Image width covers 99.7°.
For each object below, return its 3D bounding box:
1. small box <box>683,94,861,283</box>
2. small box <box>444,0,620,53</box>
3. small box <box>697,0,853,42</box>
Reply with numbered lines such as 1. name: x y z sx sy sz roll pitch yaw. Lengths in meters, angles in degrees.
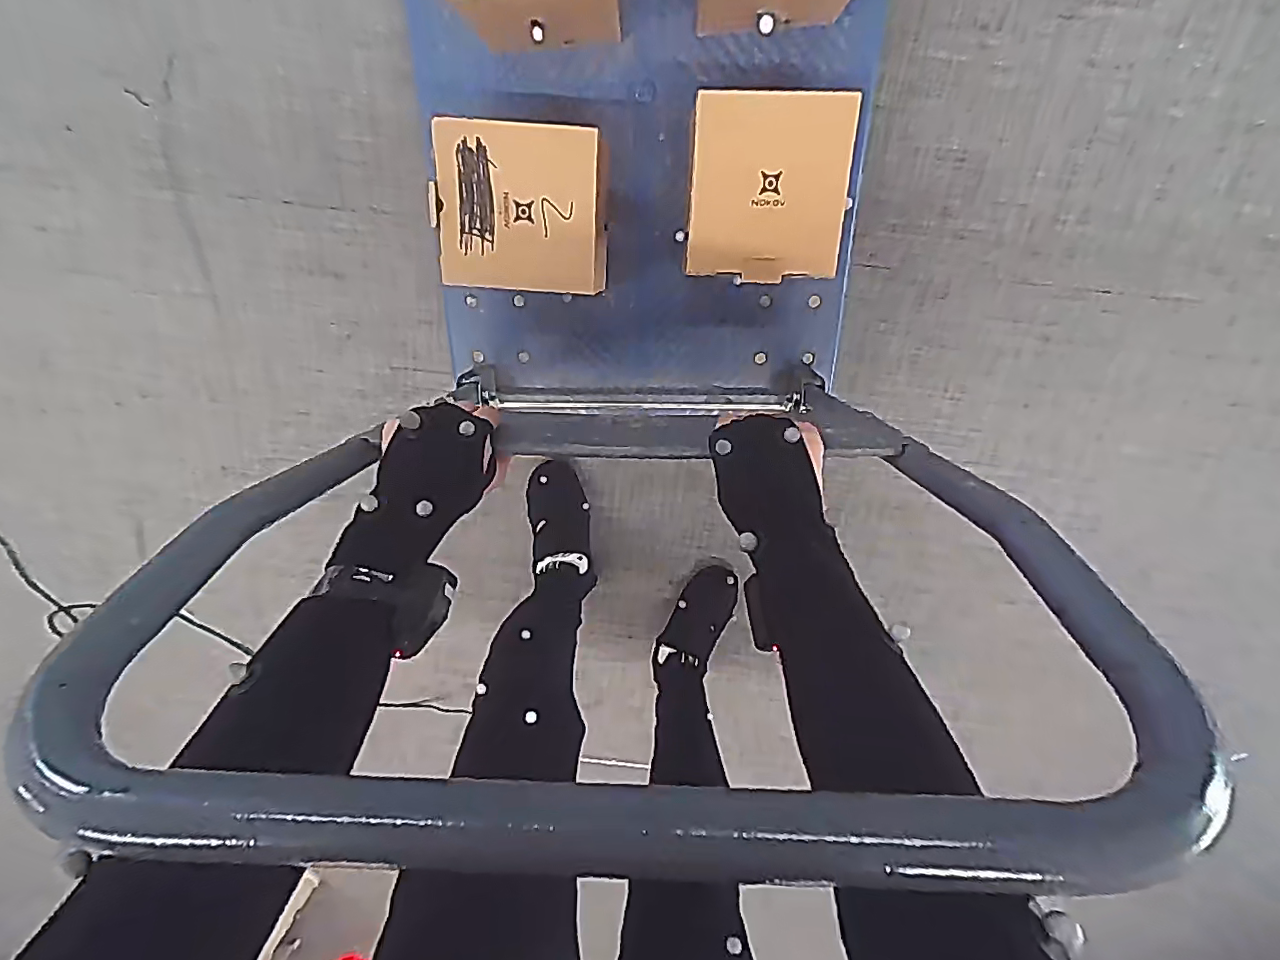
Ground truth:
1. small box: 0.140 -0.333 0.646 0.168 0.176 0.179 2 112 1
2. small box: -0.111 -0.573 0.560 0.168 0.176 0.179 -2 112 2
3. small box: 0.142 -0.583 0.545 0.168 0.176 0.179 -2 113 4
